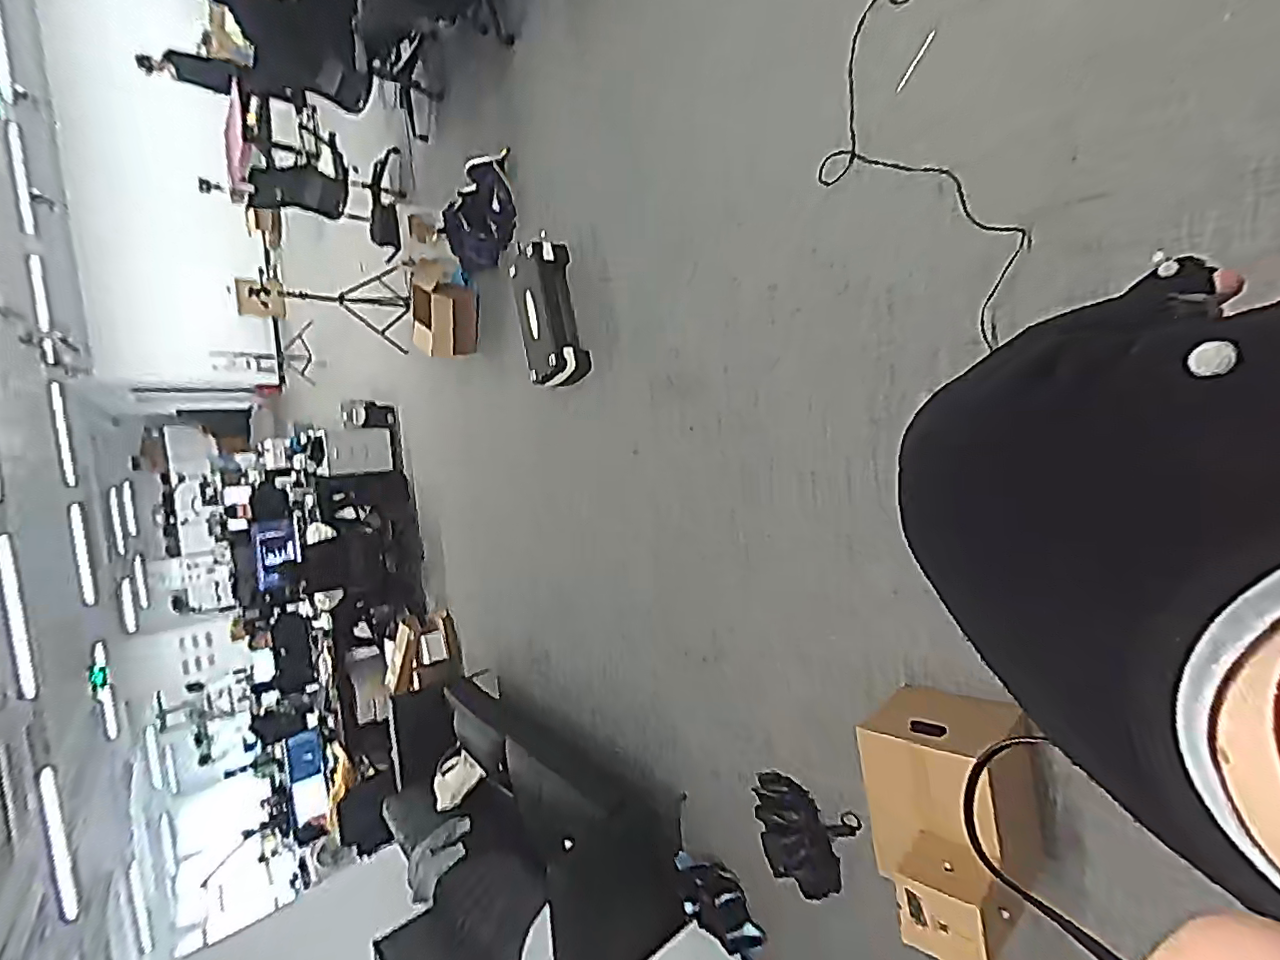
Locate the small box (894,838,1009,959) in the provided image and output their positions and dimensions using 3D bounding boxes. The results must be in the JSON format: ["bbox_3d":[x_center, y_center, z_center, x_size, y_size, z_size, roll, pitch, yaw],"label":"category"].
[{"bbox_3d":[0.700,0.949,1.215,0.179,0.176,0.168,-7,91,46],"label":"small box"}]
